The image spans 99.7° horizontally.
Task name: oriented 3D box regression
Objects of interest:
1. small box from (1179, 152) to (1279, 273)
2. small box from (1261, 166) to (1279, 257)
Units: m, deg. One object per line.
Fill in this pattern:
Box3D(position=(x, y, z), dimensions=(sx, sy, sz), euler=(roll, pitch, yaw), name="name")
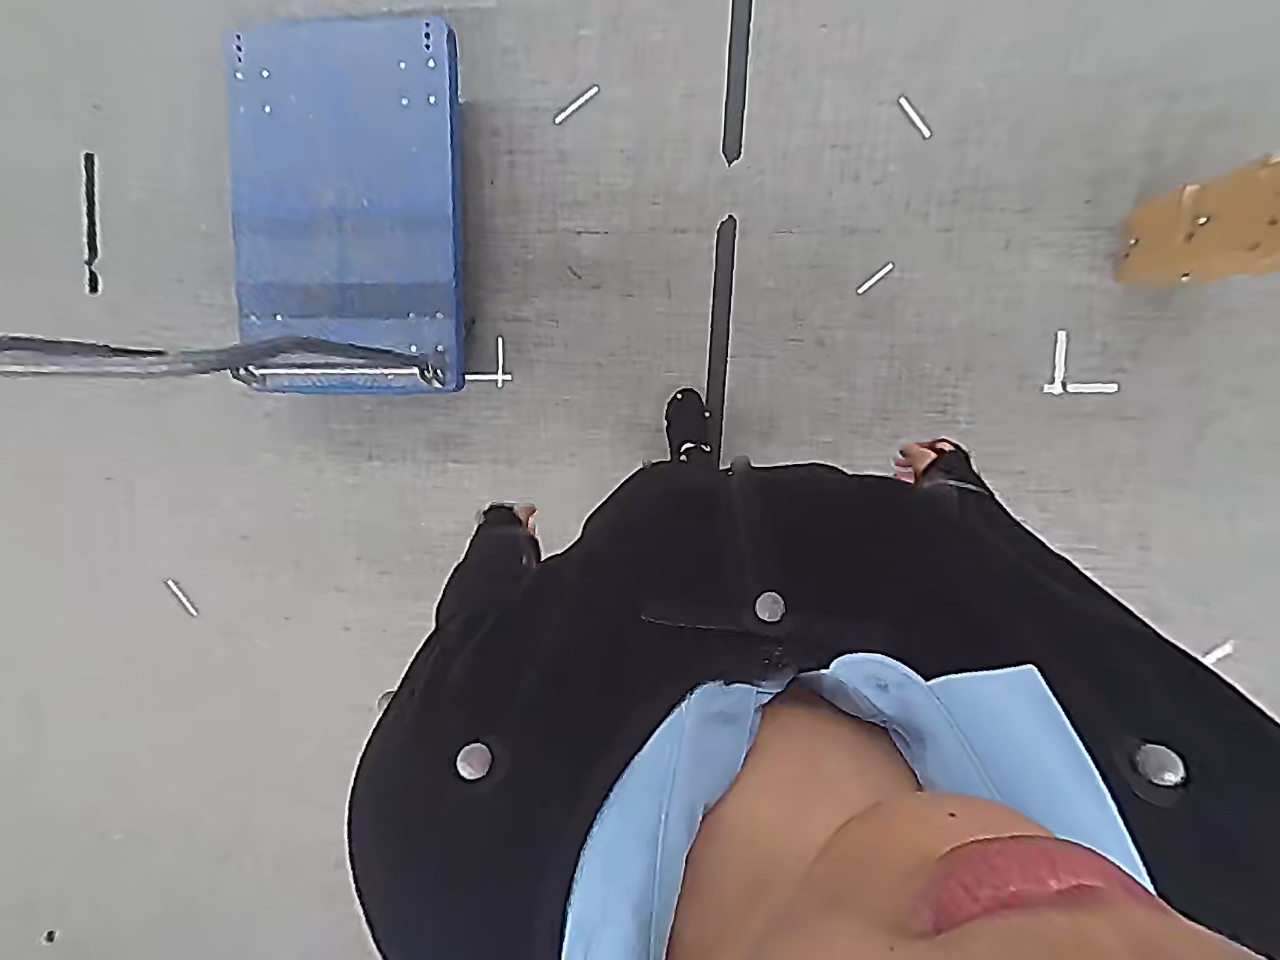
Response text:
Box3D(position=(1.255, -0.522, 1.077), dimensions=(0.179, 0.176, 0.168), euler=(7, 95, 6), name="small box")
Box3D(position=(1.238, -0.493, 0.917), dimensions=(0.179, 0.176, 0.168), euler=(-5, 95, 7), name="small box")
